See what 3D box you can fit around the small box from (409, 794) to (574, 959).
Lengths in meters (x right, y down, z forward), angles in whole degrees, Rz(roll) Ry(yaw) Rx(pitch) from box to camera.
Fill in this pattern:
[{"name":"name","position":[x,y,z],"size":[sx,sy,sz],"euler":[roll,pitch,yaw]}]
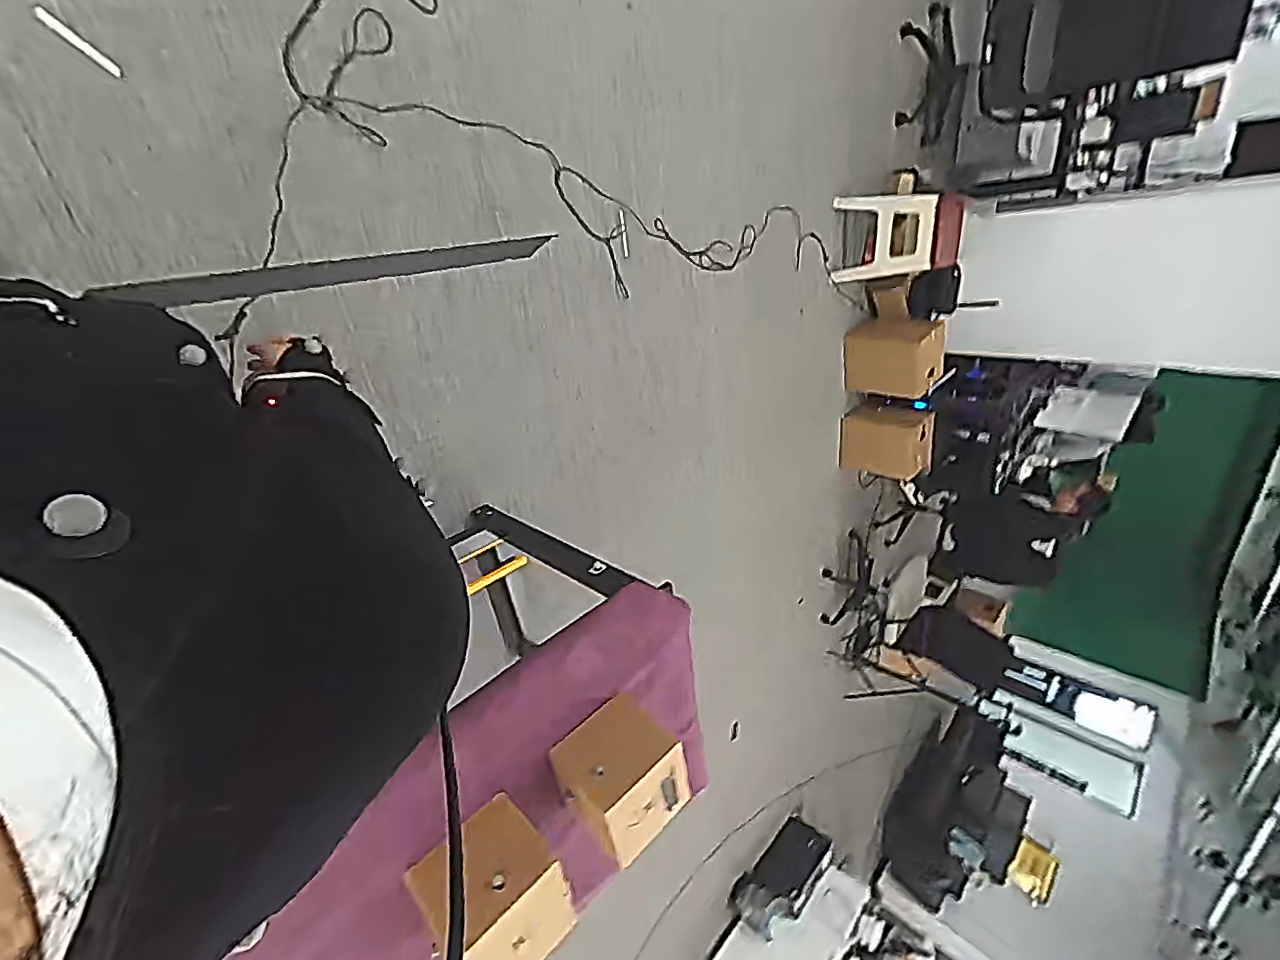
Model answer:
[{"name":"small box","position":[-0.232,0.642,0.834],"size":[0.179,0.176,0.168],"euler":[-29,122,-37]}]
